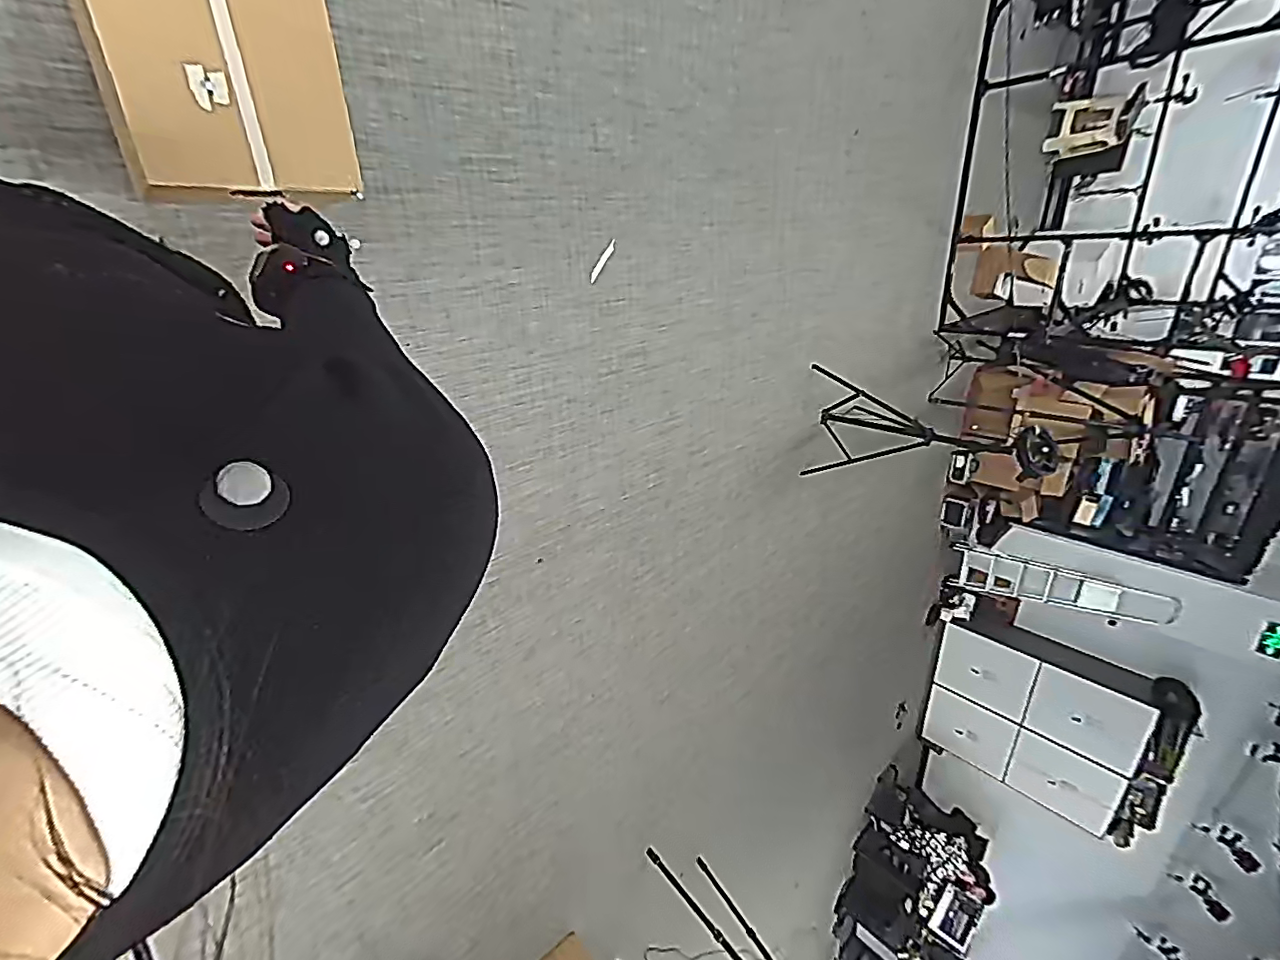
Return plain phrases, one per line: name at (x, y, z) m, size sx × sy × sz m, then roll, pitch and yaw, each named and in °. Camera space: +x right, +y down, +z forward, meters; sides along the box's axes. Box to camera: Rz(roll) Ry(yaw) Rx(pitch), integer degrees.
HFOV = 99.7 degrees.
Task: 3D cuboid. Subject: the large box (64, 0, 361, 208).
large box at (-0.742, -0.708, 0.937) m, size 0.320 × 0.320 × 0.408 m, roll -22°, pitch 120°, yaw -37°
